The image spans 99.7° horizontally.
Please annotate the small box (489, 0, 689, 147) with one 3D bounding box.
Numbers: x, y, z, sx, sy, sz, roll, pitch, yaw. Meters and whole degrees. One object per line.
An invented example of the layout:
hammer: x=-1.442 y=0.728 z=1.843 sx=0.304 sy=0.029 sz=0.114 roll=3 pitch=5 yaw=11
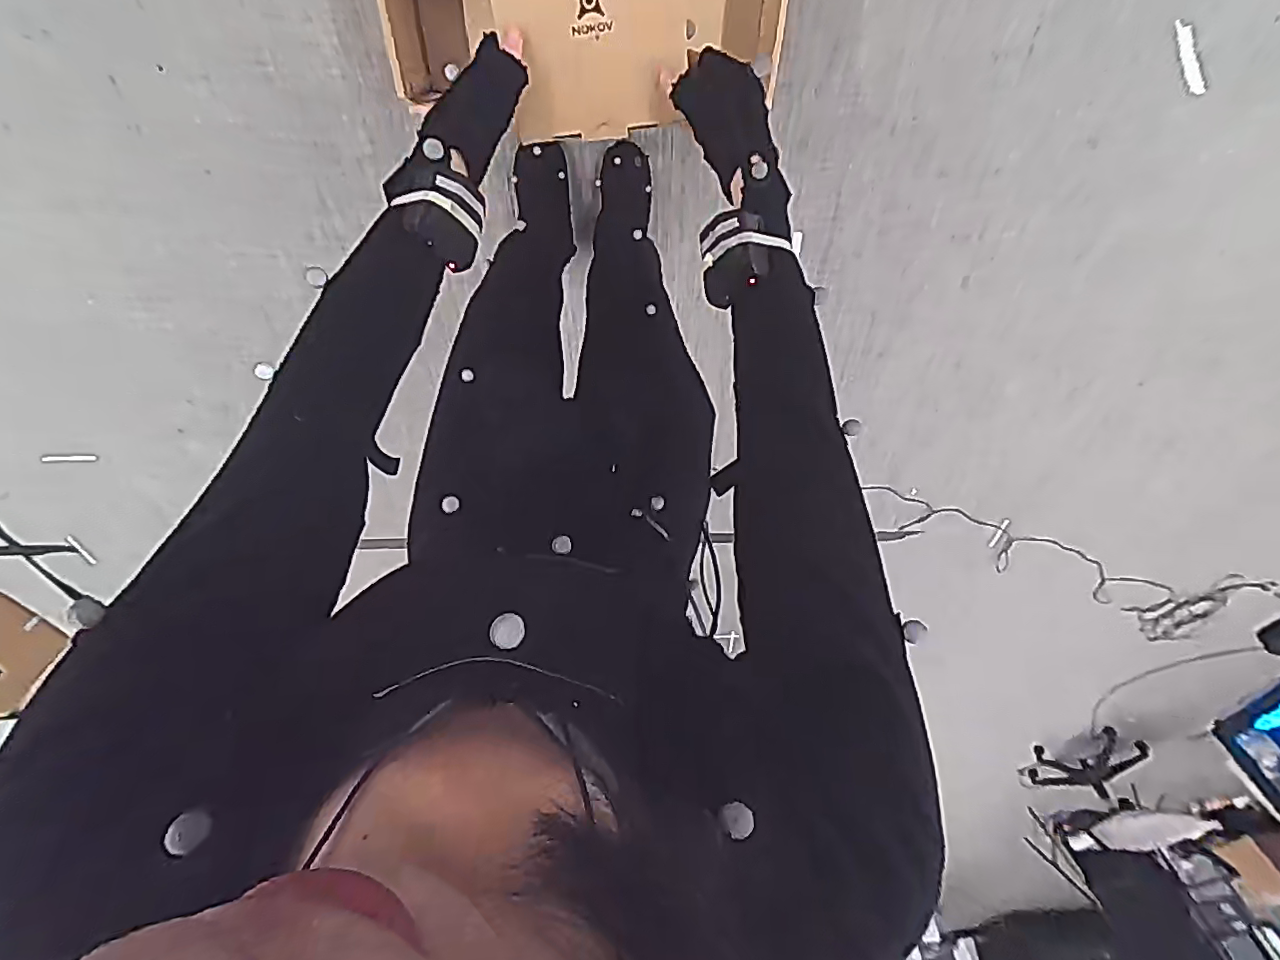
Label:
small box: x=-0.042 y=-0.438 z=0.517 sx=0.168 sy=0.176 sz=0.179 roll=-6 pitch=127 yaw=4
